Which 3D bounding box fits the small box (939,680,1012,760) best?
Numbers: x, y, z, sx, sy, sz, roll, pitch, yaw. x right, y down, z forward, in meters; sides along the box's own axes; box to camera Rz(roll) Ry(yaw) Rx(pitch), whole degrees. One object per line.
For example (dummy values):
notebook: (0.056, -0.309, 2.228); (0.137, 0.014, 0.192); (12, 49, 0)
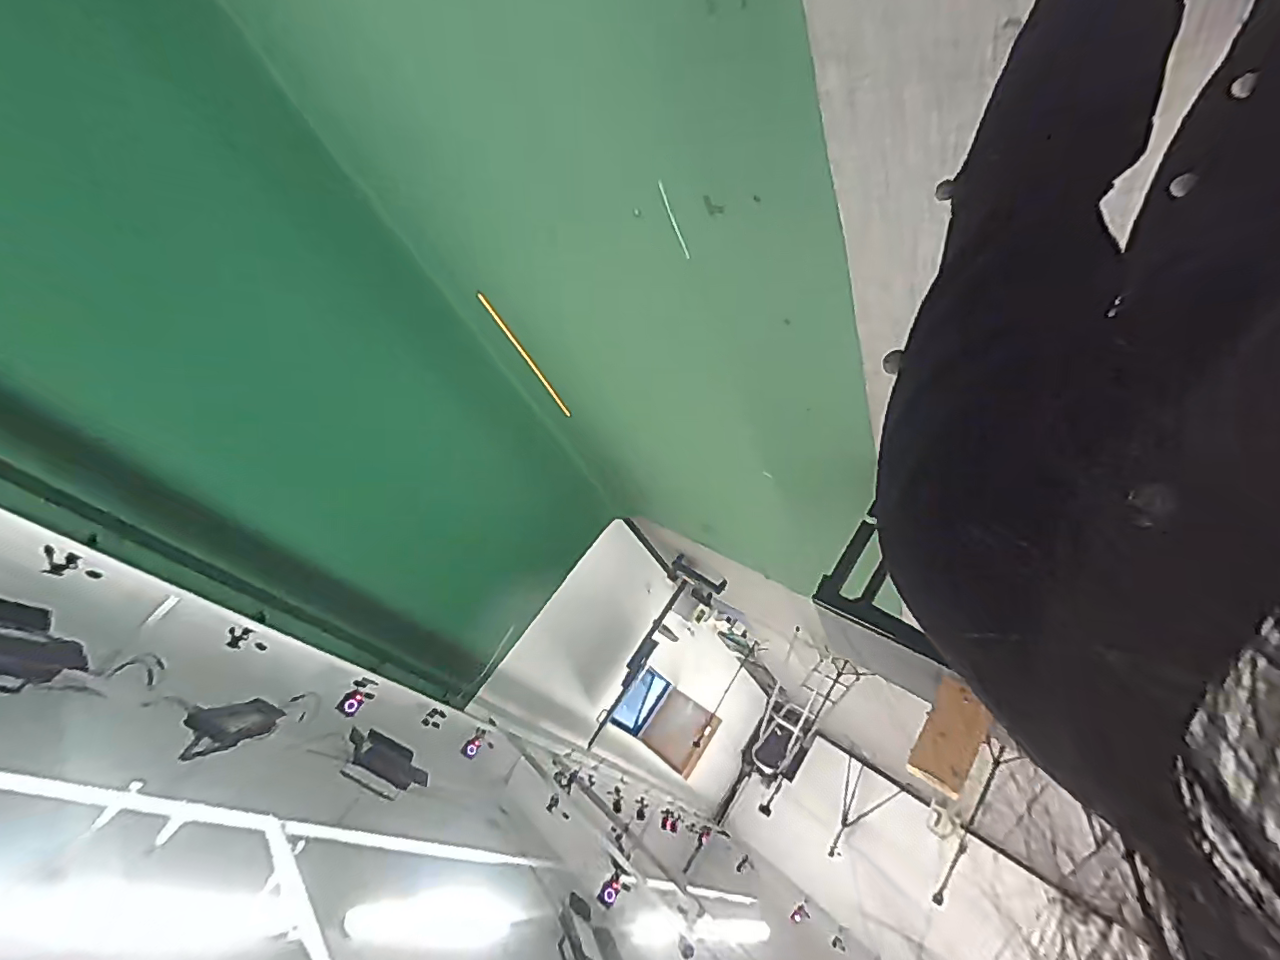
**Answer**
small box: (1.145, 0.818, 1.848); (0.168, 0.176, 0.179); (23, 158, 38)
